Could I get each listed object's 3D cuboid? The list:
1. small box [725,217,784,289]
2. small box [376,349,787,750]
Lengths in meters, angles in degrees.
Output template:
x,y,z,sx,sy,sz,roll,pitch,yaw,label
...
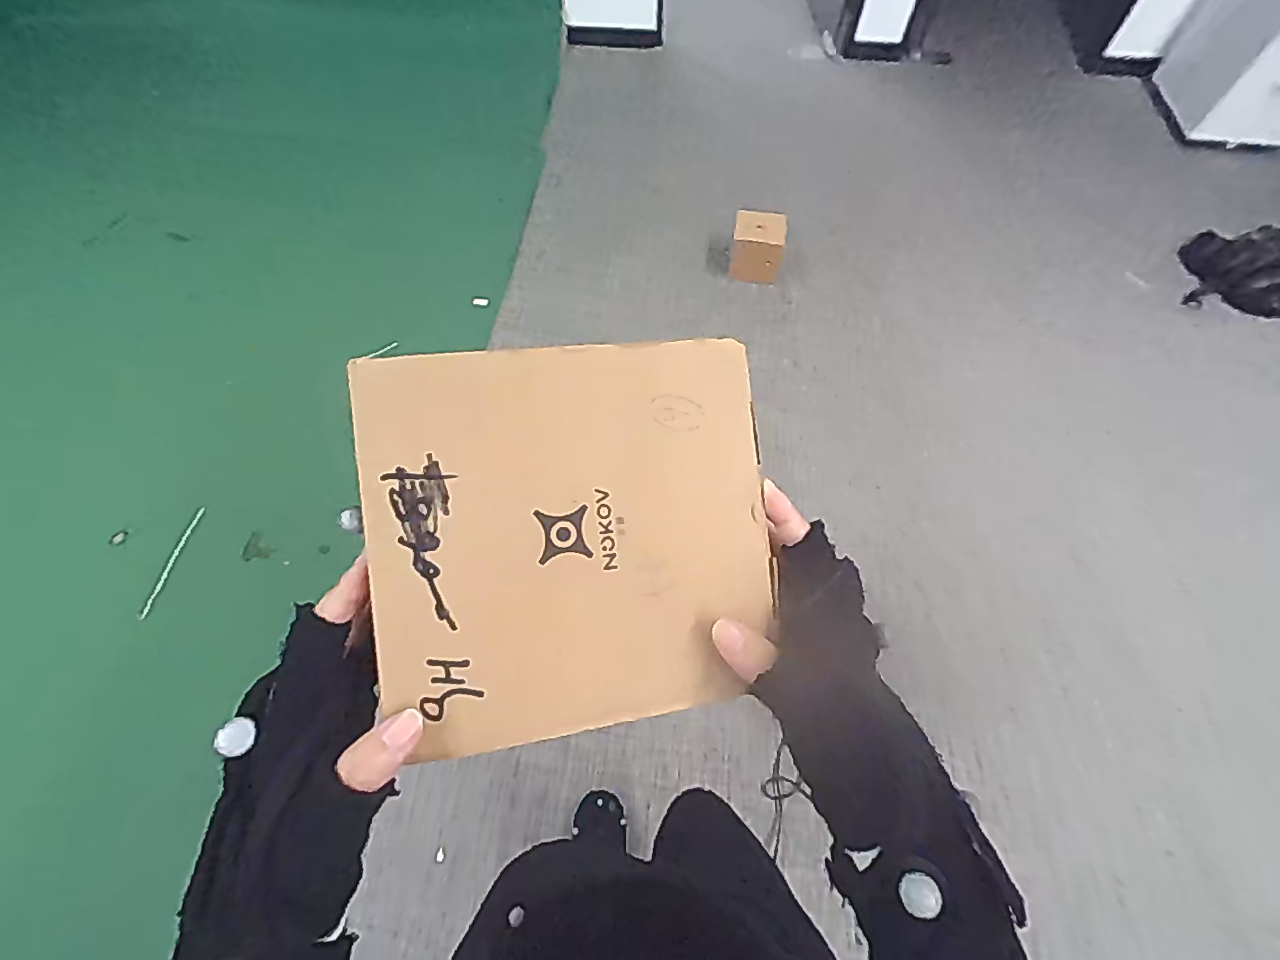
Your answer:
x,y,z,sx,sy,sz,roll,pitch,yaw,label
0.412,-0.815,1.950,0.179,0.176,0.168,8,60,5,small box
-0.039,0.028,0.319,0.179,0.176,0.168,-5,86,-14,small box
